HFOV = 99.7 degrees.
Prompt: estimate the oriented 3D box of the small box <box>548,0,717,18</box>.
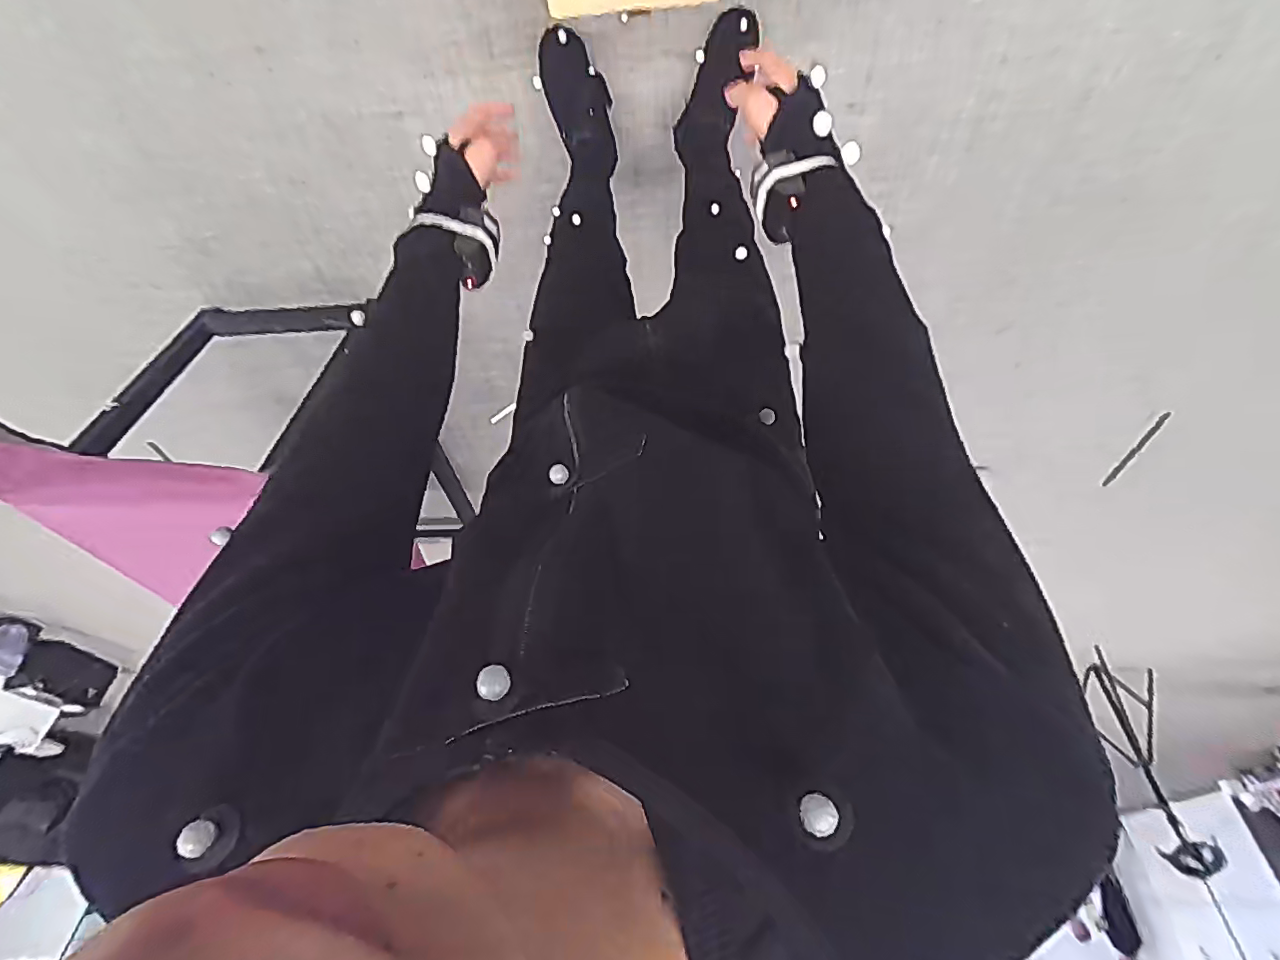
[{"bbox_3d":[-0.009,-0.589,0.542,0.179,0.176,0.168,-3,140,4],"label":"small box"}]
